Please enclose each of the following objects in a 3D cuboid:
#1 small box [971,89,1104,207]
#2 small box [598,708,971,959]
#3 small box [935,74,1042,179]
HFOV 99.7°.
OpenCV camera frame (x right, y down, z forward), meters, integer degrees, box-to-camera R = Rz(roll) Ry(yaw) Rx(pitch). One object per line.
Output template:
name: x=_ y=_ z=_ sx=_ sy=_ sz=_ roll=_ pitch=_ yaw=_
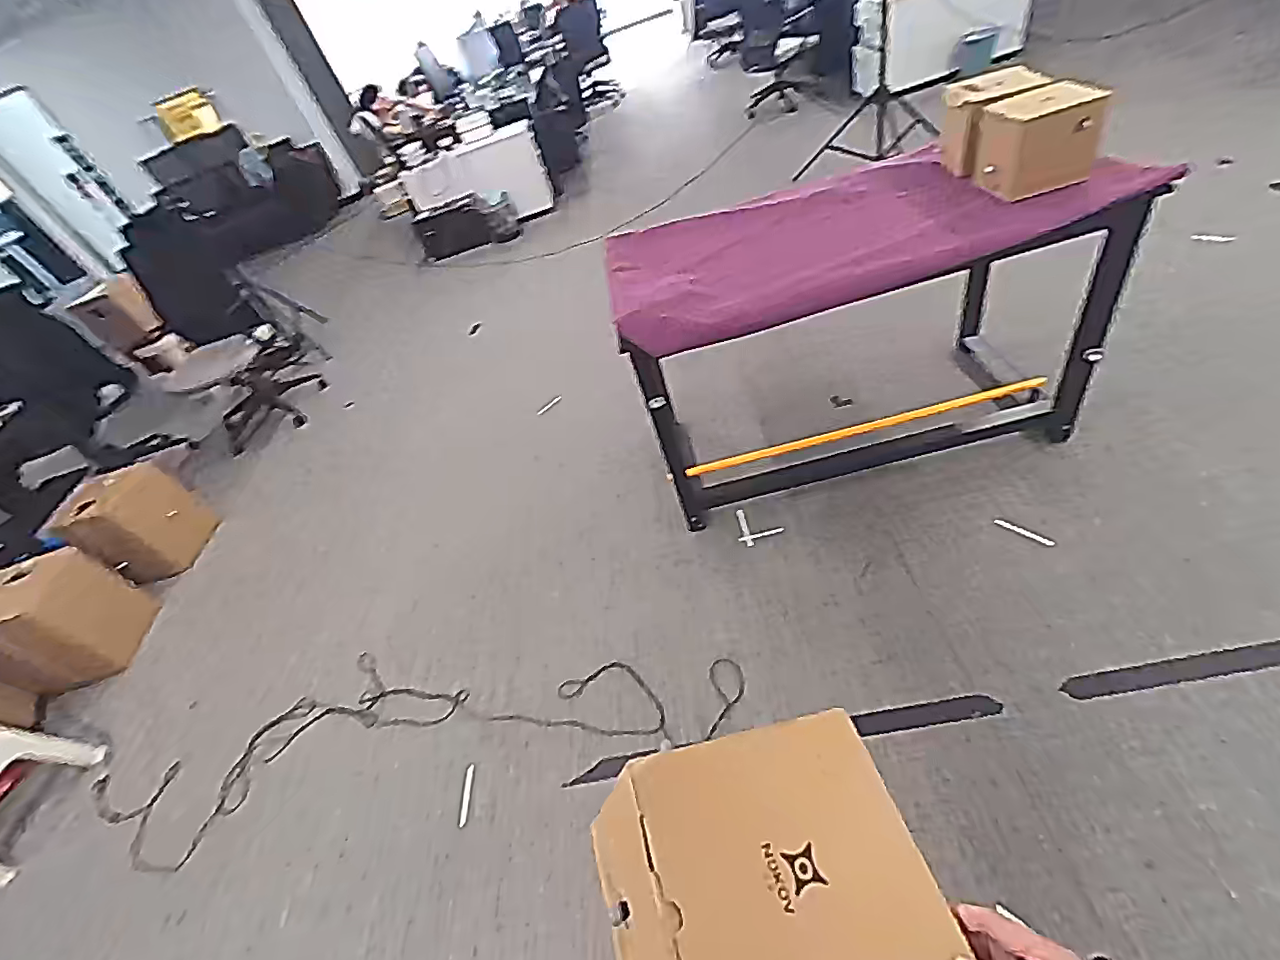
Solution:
small box: x=0.891 y=-0.756 z=1.234 sx=0.179 sy=0.176 sz=0.168 roll=-14 pitch=42 yaw=9
small box: x=0.080 y=0.291 z=0.391 sx=0.179 sy=0.176 sz=0.168 roll=-5 pitch=49 yaw=-19
small box: x=0.873 y=-0.895 z=1.377 sx=0.179 sy=0.176 sz=0.168 roll=-10 pitch=46 yaw=11
